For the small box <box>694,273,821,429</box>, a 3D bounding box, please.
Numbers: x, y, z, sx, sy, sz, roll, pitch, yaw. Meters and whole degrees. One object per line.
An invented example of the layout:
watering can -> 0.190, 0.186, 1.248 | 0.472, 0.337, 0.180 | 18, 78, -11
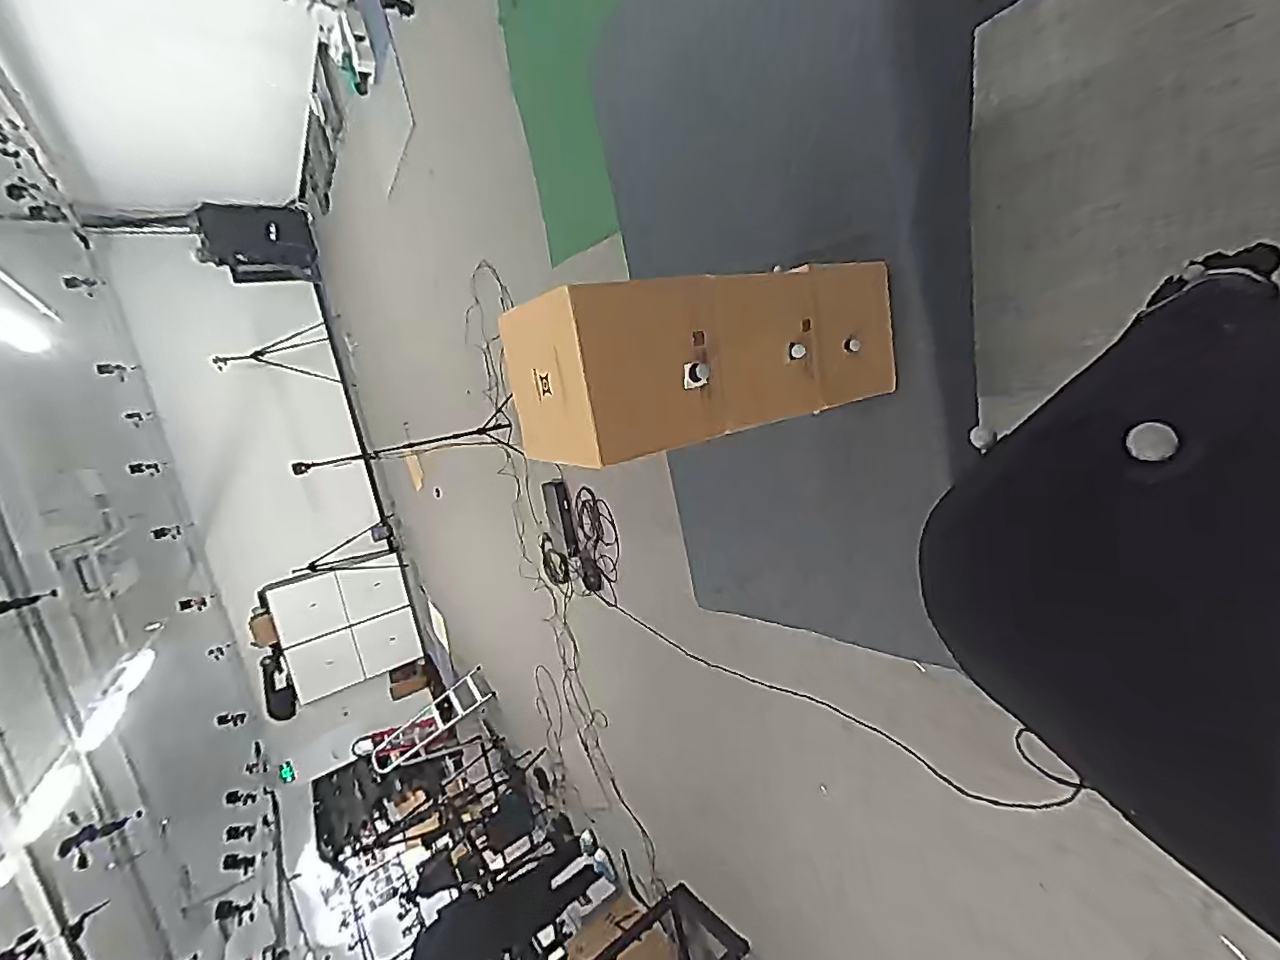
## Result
small box -> 0.102, -0.159, 0.692 | 0.179, 0.176, 0.168 | 7, 109, 58

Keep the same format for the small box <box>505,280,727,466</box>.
small box -> -0.028, -0.119, 0.604 | 0.179, 0.176, 0.168 | 8, 112, 55

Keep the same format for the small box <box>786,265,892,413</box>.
small box -> 0.239, -0.196, 0.775 | 0.168, 0.176, 0.179 | 6, 109, 56
